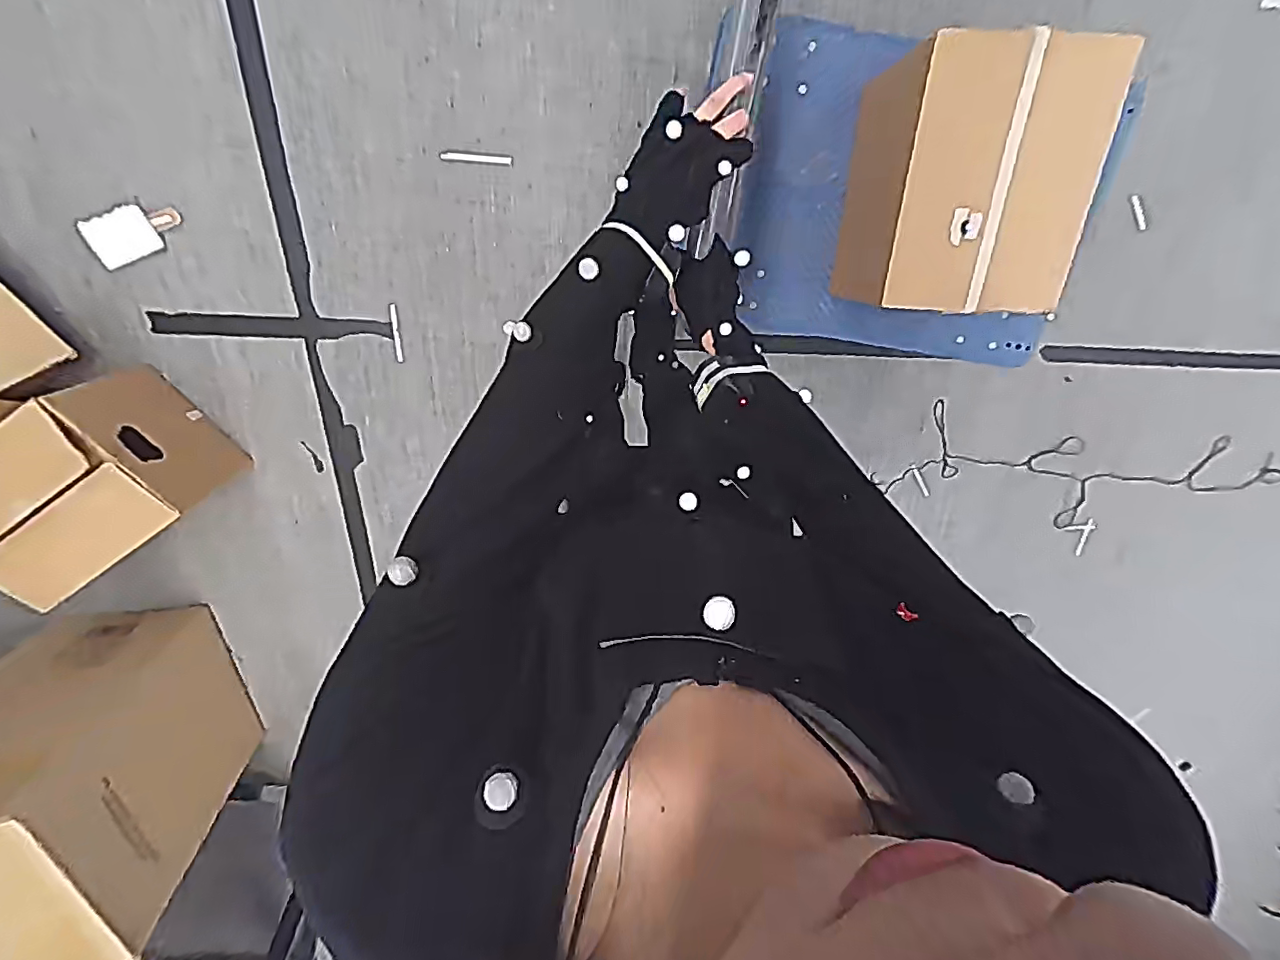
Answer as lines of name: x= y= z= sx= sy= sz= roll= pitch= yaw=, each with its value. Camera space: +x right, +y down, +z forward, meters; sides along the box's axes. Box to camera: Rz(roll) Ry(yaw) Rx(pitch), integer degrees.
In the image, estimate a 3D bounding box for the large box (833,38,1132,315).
large box: x=0.592 y=-0.543 z=1.028 sx=0.320 sy=0.320 sz=0.408 roll=2 pitch=113 yaw=1
